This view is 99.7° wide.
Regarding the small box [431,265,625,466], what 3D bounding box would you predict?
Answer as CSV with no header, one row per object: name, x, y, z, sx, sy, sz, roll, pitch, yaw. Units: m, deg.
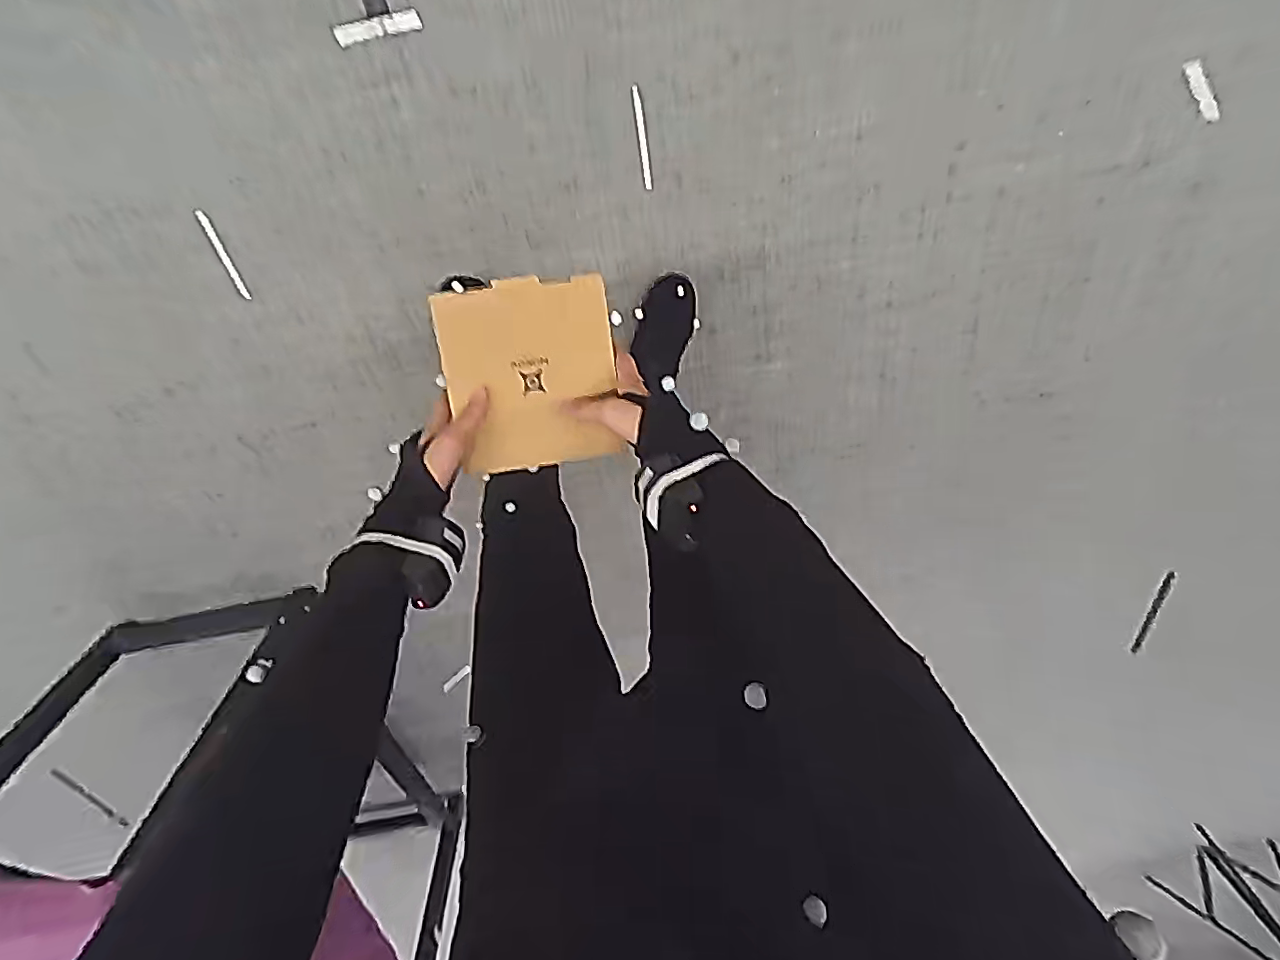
small box,-0.111,-0.123,0.599,0.168,0.176,0.179,-9,101,-4
